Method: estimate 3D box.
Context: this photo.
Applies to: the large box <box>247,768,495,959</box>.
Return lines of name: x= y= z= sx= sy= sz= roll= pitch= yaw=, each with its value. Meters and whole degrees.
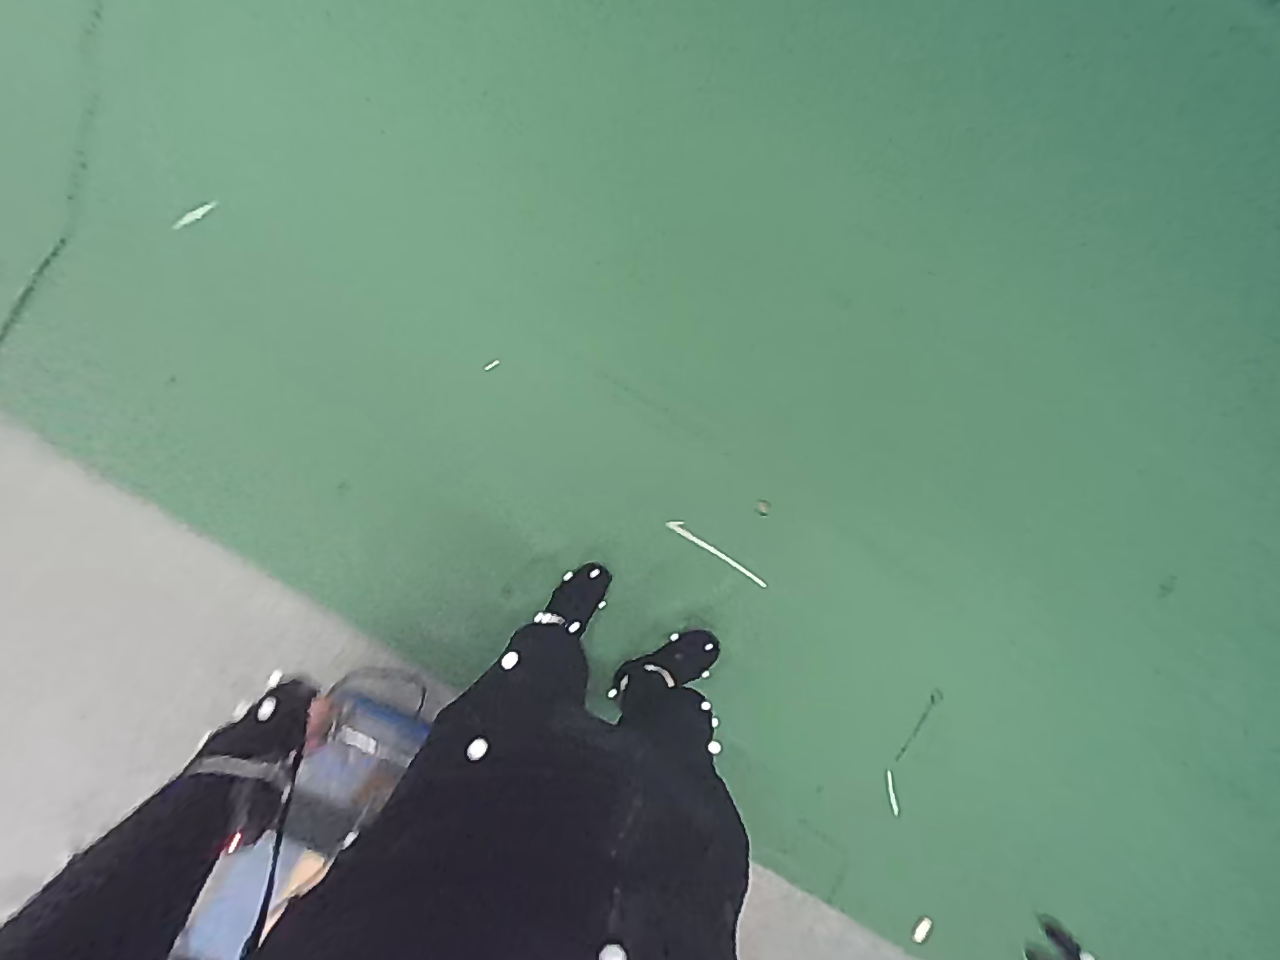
large box: x=-0.522 y=0.861 z=1.032 sx=0.320 sy=0.320 sz=0.408 roll=28 pitch=84 yaw=-4
